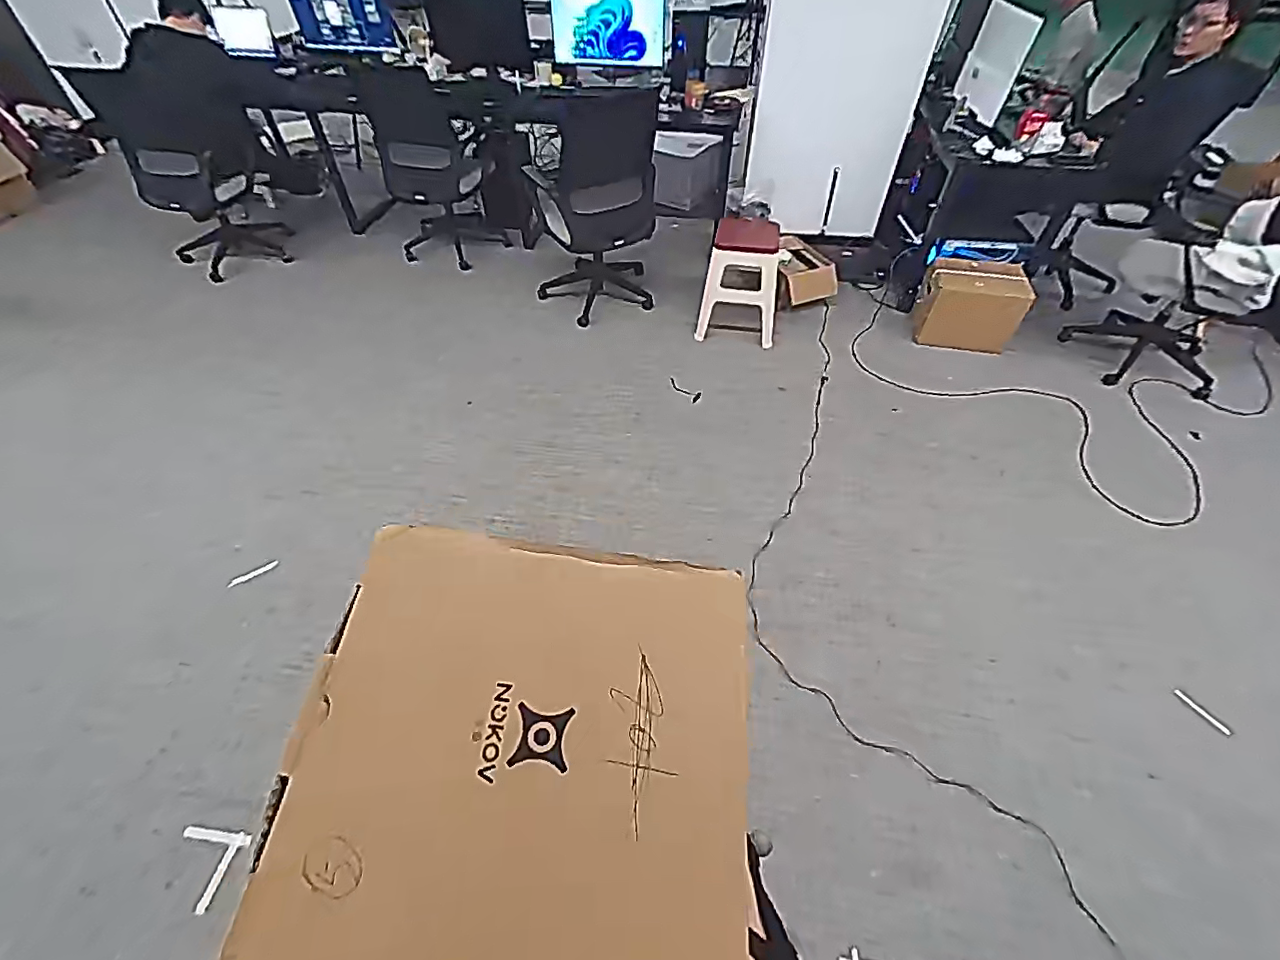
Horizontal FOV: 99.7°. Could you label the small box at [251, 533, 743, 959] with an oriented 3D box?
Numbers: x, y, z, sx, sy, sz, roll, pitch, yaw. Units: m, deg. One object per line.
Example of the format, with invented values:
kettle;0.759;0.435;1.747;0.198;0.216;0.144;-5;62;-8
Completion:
small box;-0.052;0.146;0.298;0.179;0.176;0.168;8;60;-5
